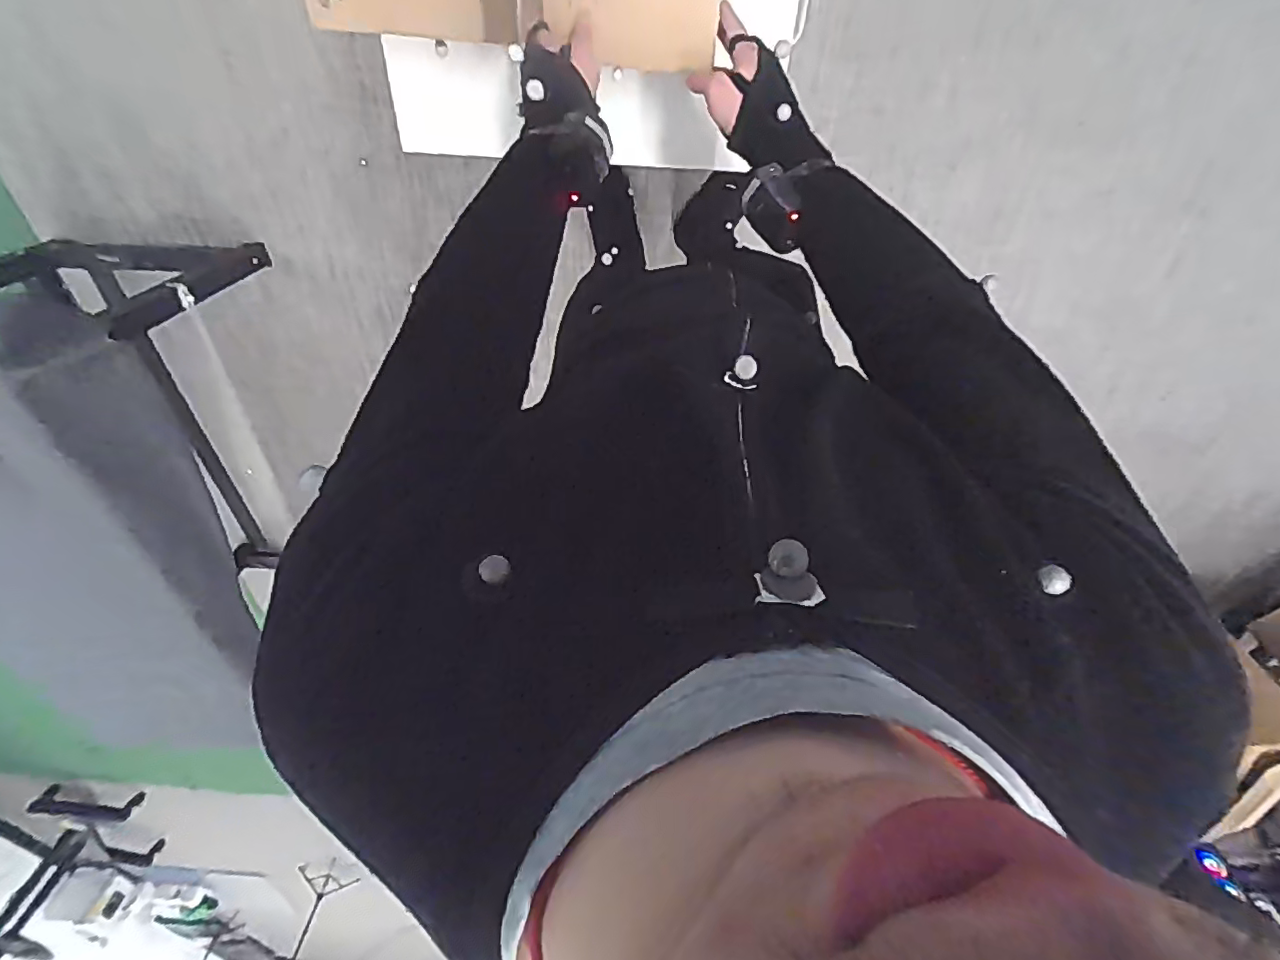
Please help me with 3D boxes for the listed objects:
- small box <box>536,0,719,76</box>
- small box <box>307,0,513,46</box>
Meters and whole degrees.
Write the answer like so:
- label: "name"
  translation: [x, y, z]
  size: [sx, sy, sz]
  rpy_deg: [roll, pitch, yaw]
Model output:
- label: "small box"
  translation: [-0.005, -0.526, 0.555]
  size: [0.179, 0.176, 0.168]
  rpy_deg: [5, 129, -1]
- label: "small box"
  translation: [-0.231, -0.554, 0.548]
  size: [0.179, 0.176, 0.168]
  rpy_deg: [3, 129, -2]
